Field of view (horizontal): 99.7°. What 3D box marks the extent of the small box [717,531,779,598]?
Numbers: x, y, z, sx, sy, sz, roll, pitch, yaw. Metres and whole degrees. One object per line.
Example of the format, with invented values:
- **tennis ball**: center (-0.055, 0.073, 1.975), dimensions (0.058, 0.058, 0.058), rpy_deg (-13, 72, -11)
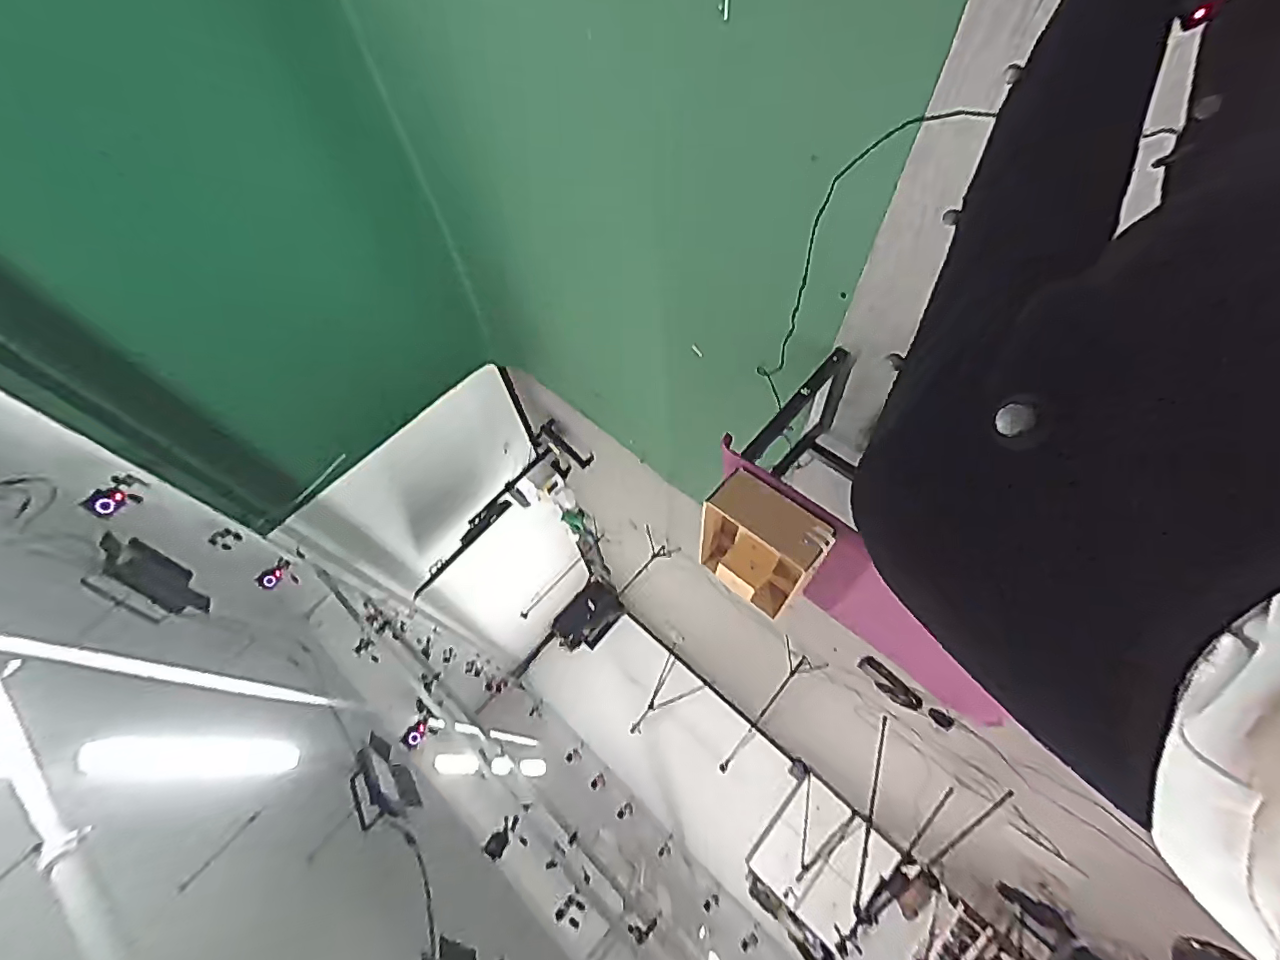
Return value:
- **small box**: center (0.424, 0.330, 2.125), dimensions (0.168, 0.176, 0.179), rpy_deg (36, 159, 18)
